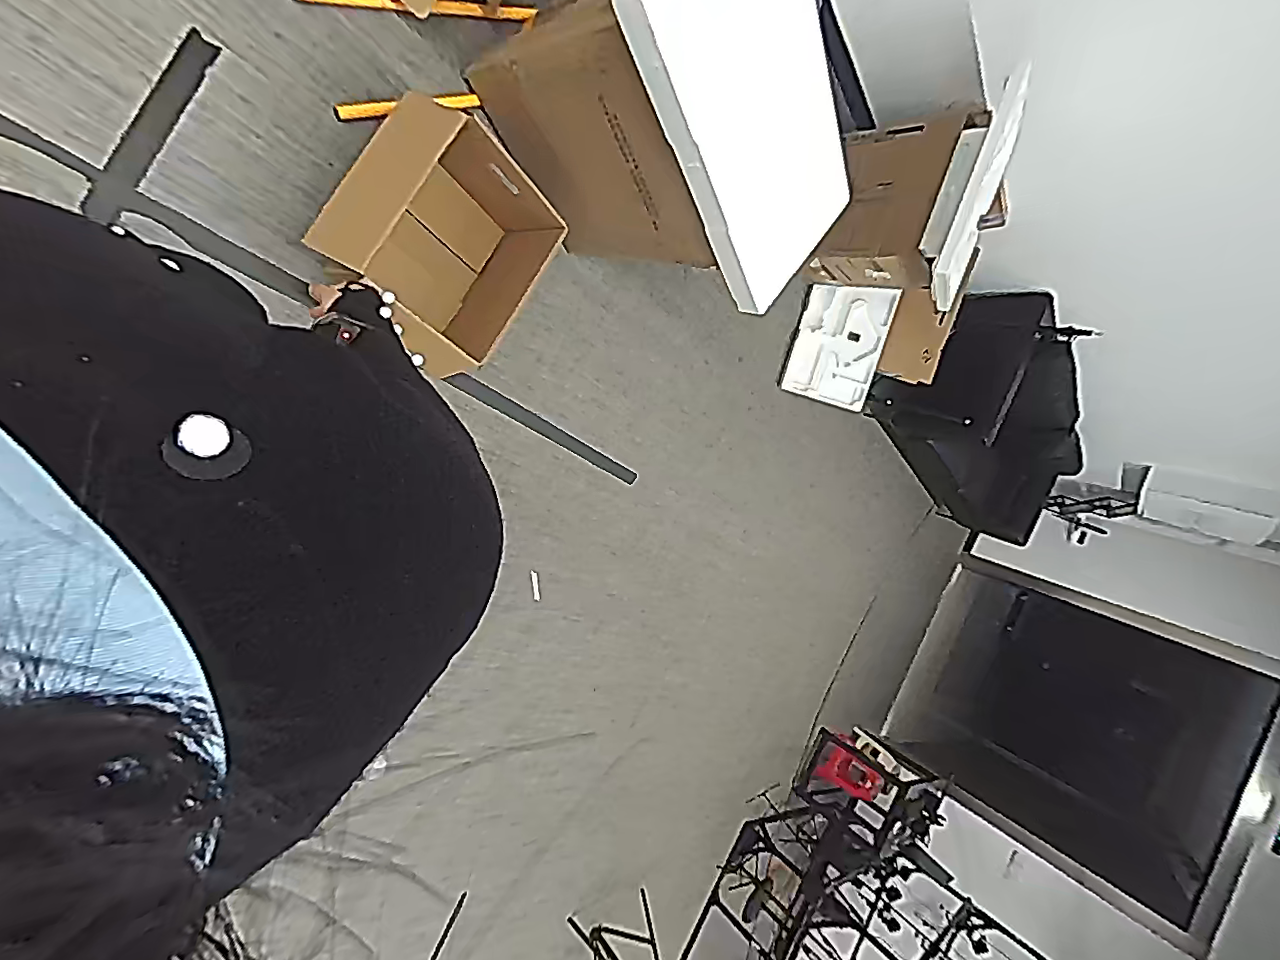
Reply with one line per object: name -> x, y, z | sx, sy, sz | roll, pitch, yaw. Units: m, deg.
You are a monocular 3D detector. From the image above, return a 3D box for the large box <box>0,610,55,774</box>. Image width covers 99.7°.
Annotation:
large box -> -1.167, 0.358, 0.745 | 0.408, 0.320, 0.320 | 33, 82, -45
